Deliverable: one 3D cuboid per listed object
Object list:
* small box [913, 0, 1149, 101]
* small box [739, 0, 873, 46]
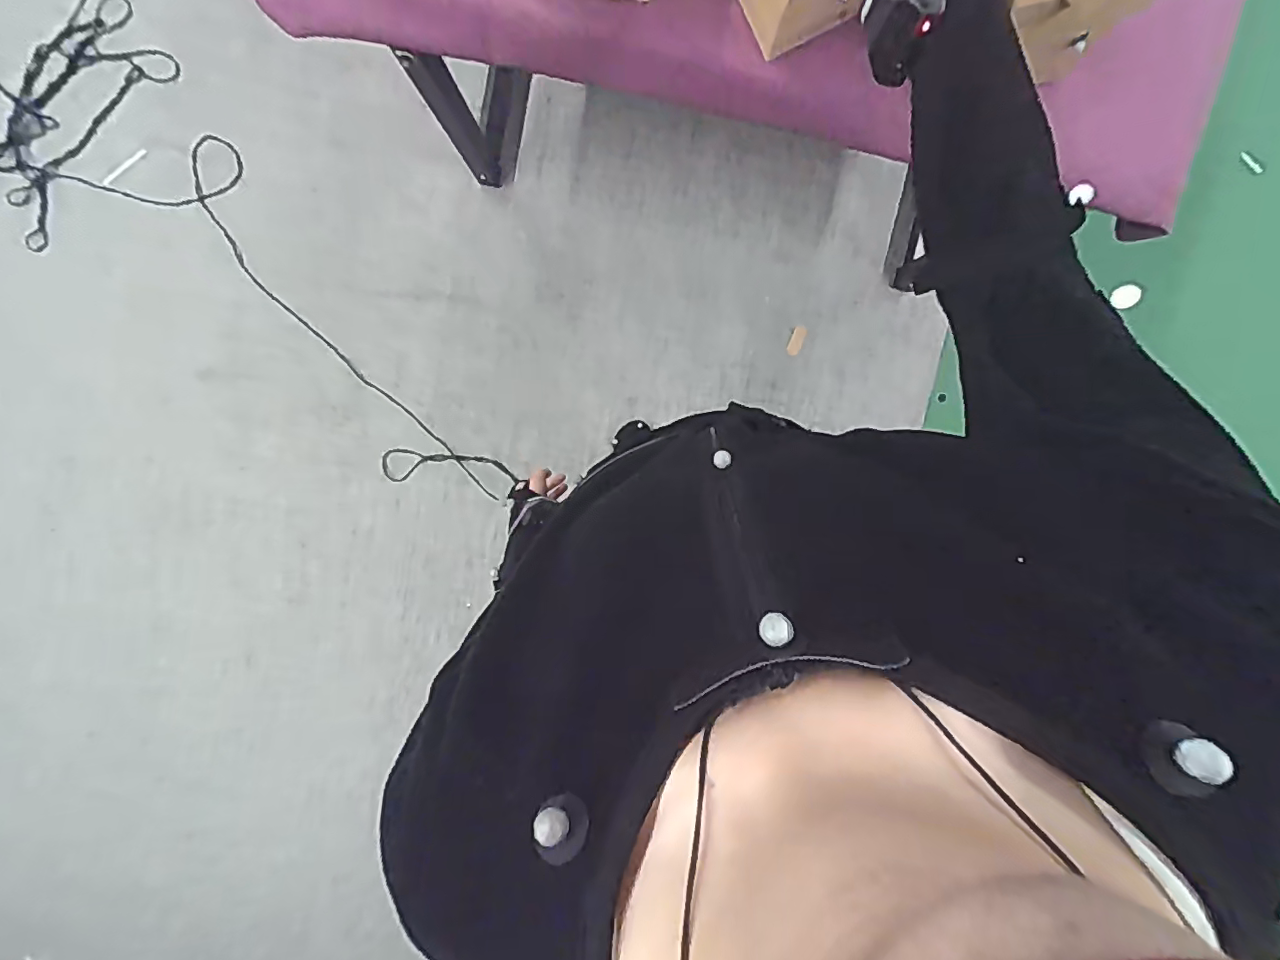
[{"bbox_3d":[0.454,-0.590,0.636,0.179,0.176,0.168,-10,94,1],"label":"small box"},{"bbox_3d":[0.202,-0.655,0.623,0.168,0.176,0.179,-26,96,1],"label":"small box"}]
